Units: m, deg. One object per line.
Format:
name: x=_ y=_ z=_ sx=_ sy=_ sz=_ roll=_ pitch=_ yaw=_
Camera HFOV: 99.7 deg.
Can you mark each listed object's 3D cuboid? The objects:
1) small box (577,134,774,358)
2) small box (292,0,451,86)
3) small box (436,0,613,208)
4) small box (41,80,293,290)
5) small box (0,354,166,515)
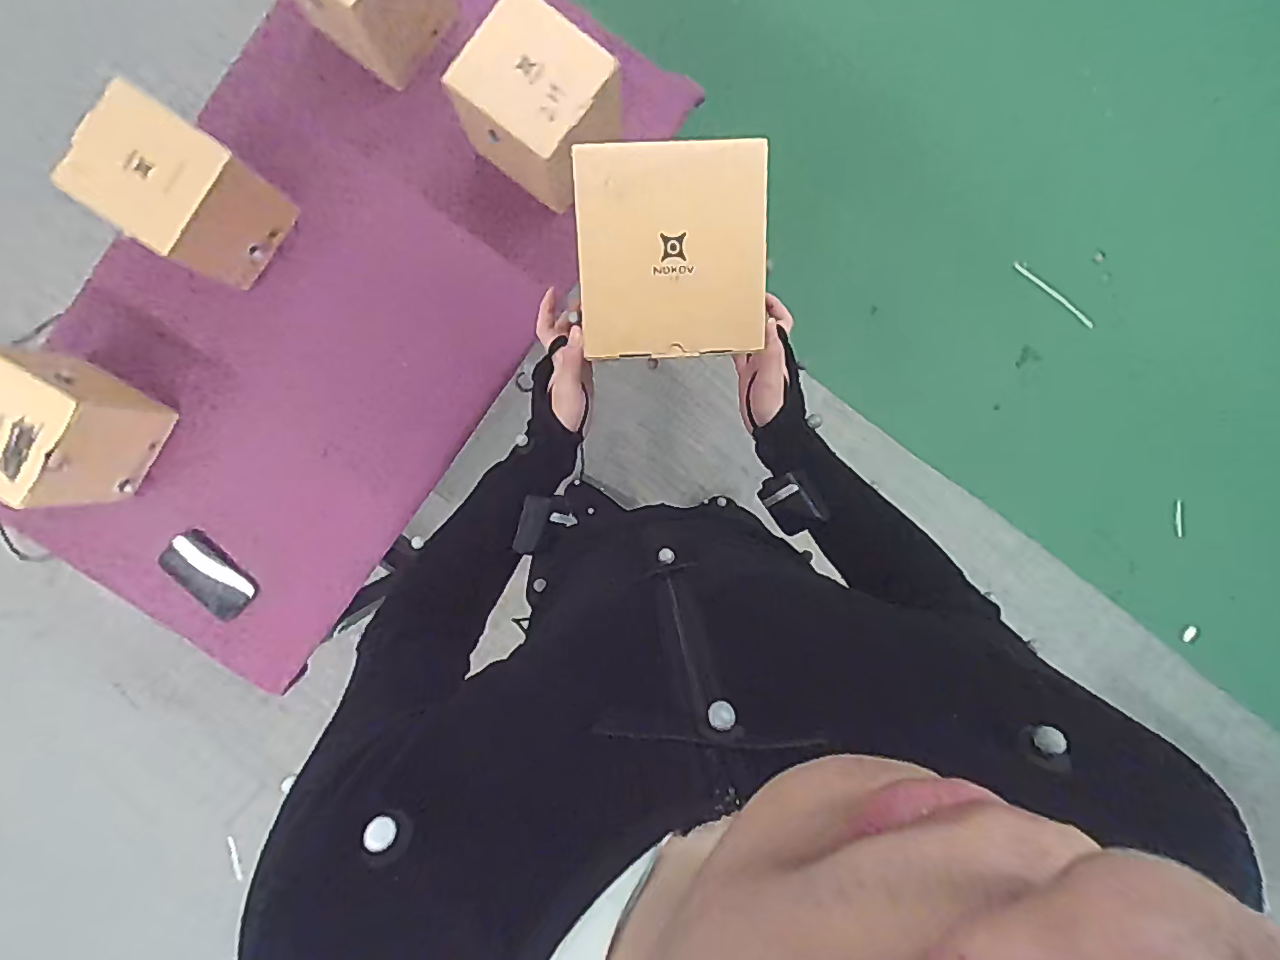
small box: x=0.026 y=-0.212 z=0.534 sx=0.168 sy=0.176 sz=0.179 roll=-3 pitch=104 yaw=-2
small box: x=-0.409 y=-0.730 z=0.779 sx=0.179 sy=0.176 sz=0.168 roll=37 pitch=91 yaw=-2
small box: x=-0.155 y=-0.541 z=0.790 sx=0.179 sy=0.176 sz=0.168 roll=37 pitch=91 yaw=-3
small box: x=-0.660 y=-0.405 z=0.780 sx=0.179 sy=0.176 sz=0.168 roll=34 pitch=91 yaw=-4
small box: x=-0.856 y=-0.068 z=0.779 sx=0.179 sy=0.176 sz=0.168 roll=31 pitch=90 yaw=-2
